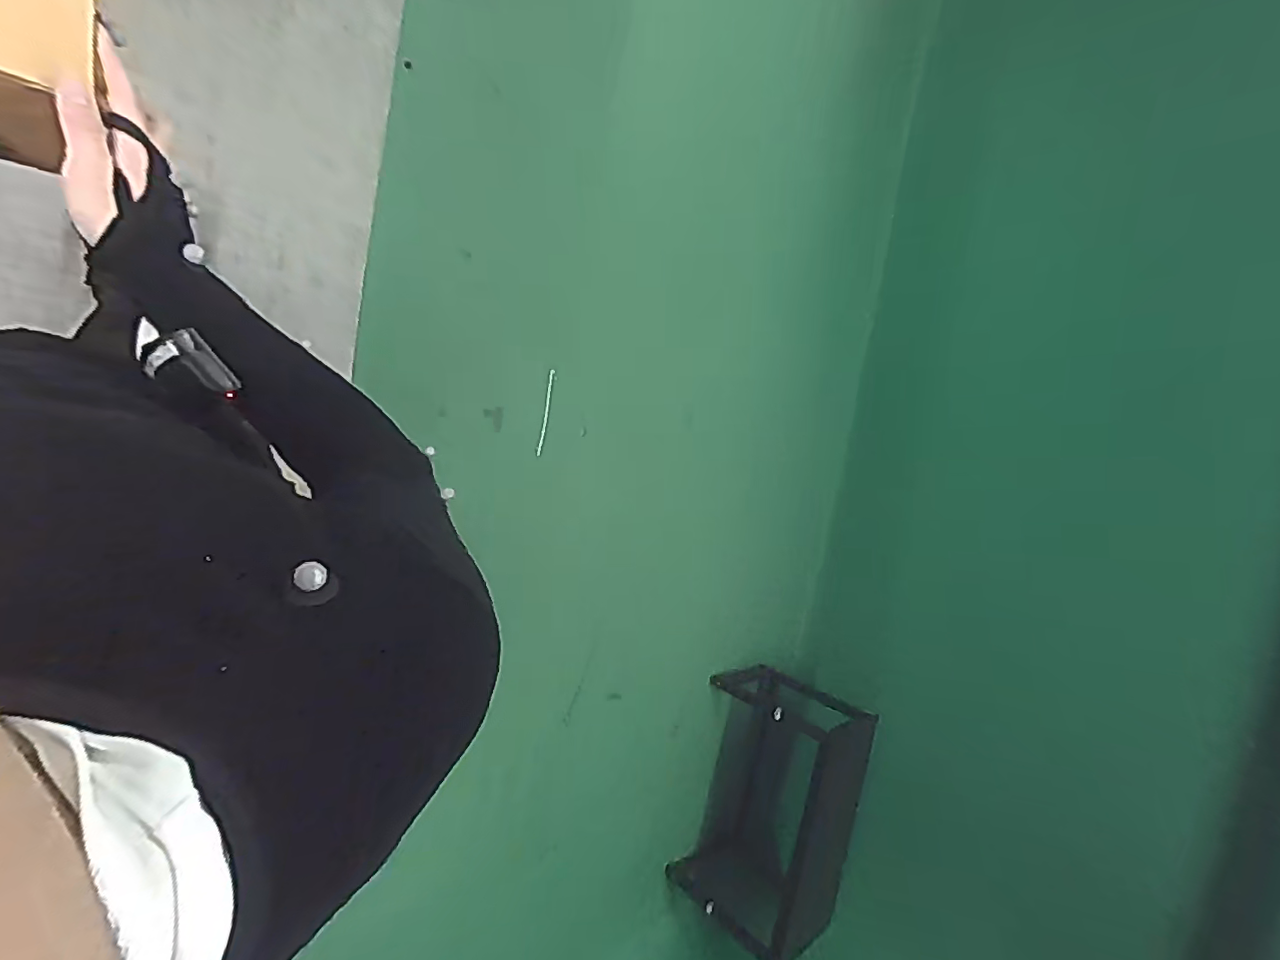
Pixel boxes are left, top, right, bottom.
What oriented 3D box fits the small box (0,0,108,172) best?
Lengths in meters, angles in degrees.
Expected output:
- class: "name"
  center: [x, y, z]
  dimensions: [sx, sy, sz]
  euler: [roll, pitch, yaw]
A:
- class: "small box"
  center: [-0.508, -0.367, 0.395]
  dimensions: [0.168, 0.176, 0.179]
  euler: [0, 95, -44]
